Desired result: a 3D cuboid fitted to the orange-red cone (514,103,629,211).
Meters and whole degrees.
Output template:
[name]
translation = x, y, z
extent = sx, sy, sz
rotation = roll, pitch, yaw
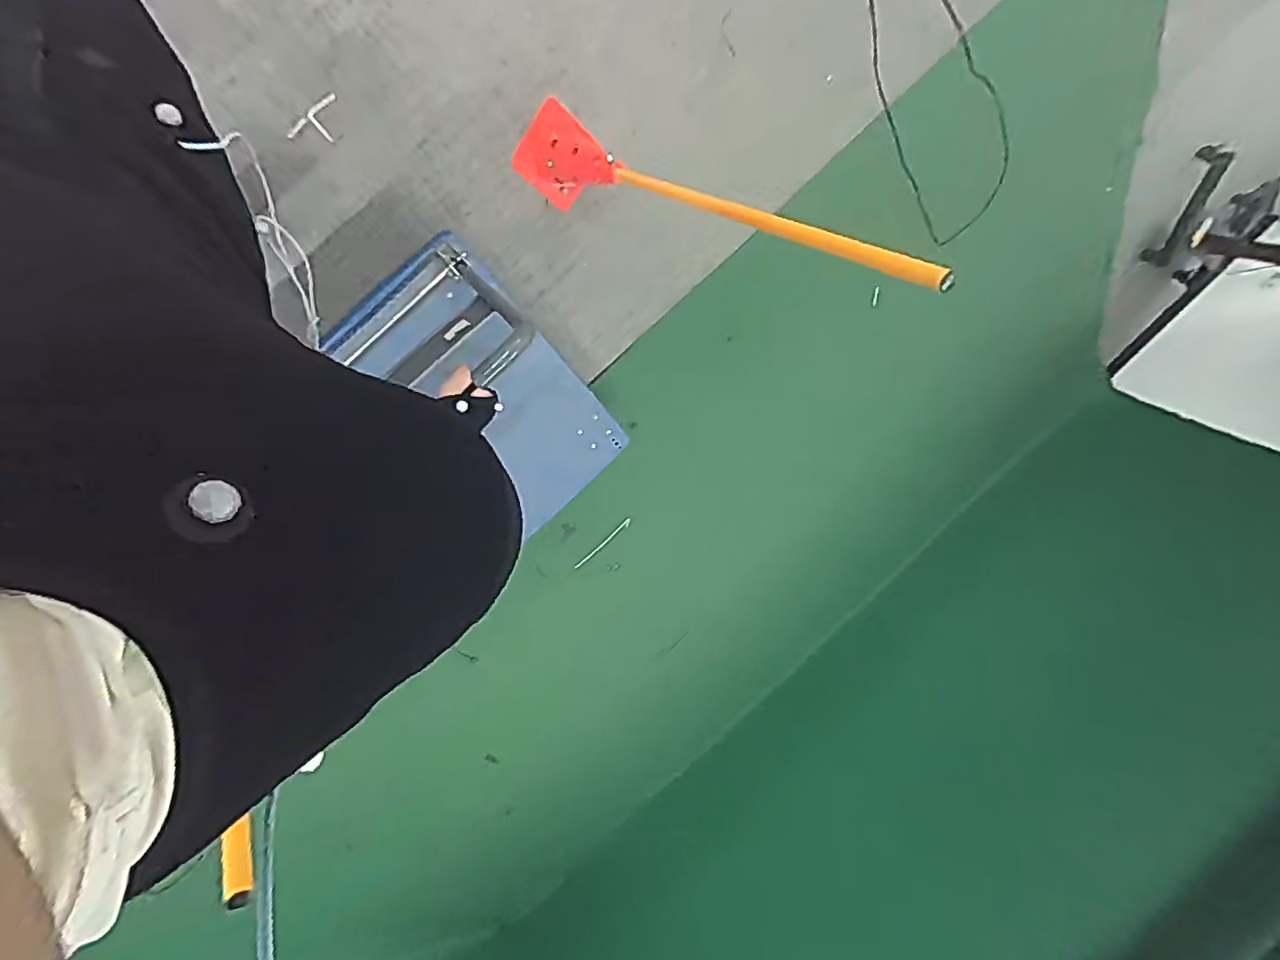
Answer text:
[orange-red cone]
translation = -0.130, -0.769, 1.325
extent = 0.198, 0.360, 0.199
rotation = 27, 102, -45
